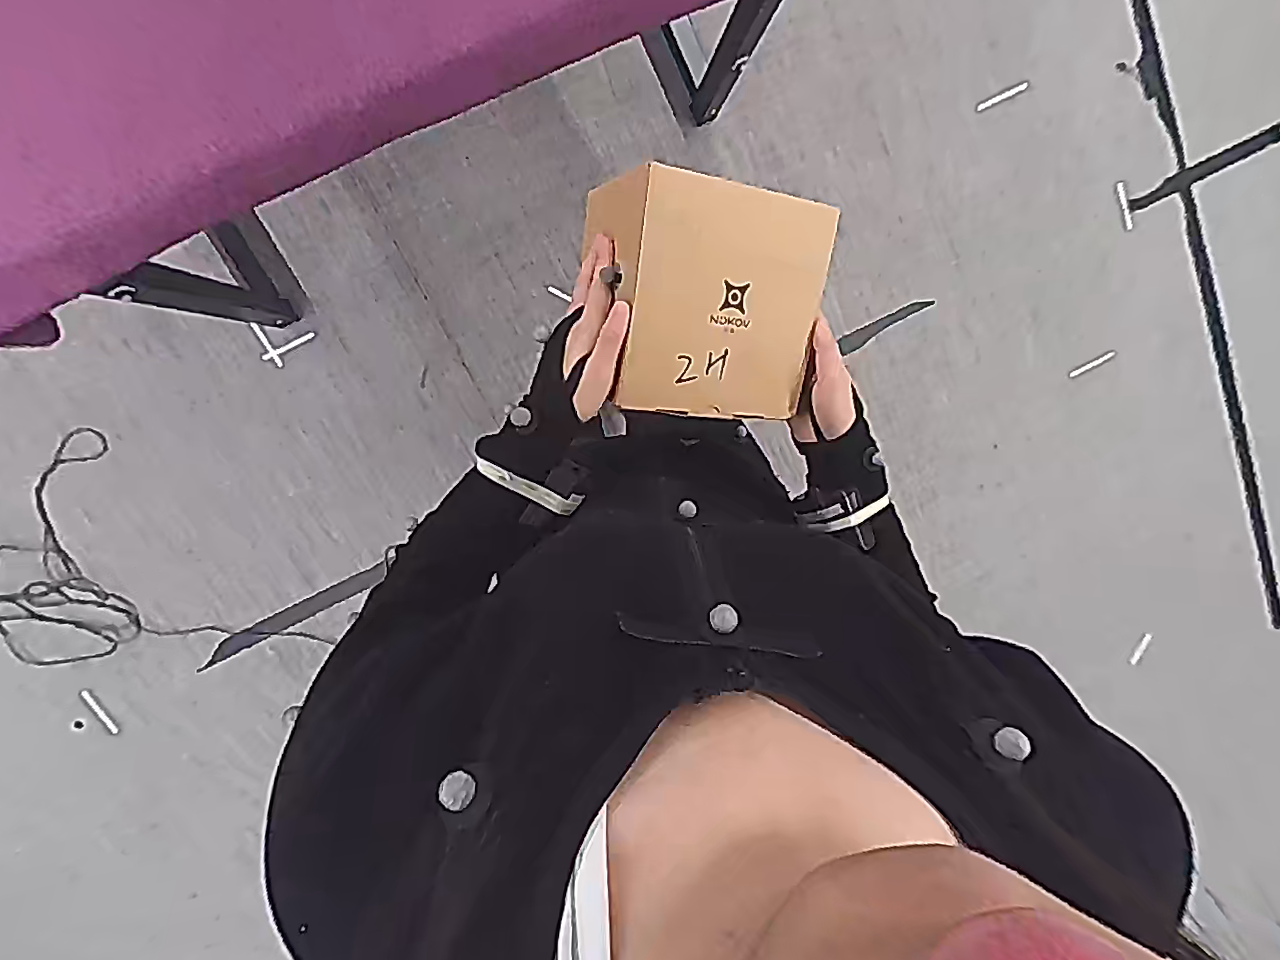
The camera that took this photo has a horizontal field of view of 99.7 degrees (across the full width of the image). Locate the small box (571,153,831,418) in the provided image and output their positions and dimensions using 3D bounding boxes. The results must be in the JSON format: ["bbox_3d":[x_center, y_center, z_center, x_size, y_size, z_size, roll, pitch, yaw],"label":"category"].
[{"bbox_3d":[0.039,-0.164,0.494,0.168,0.176,0.179,2,108,-20],"label":"small box"}]
